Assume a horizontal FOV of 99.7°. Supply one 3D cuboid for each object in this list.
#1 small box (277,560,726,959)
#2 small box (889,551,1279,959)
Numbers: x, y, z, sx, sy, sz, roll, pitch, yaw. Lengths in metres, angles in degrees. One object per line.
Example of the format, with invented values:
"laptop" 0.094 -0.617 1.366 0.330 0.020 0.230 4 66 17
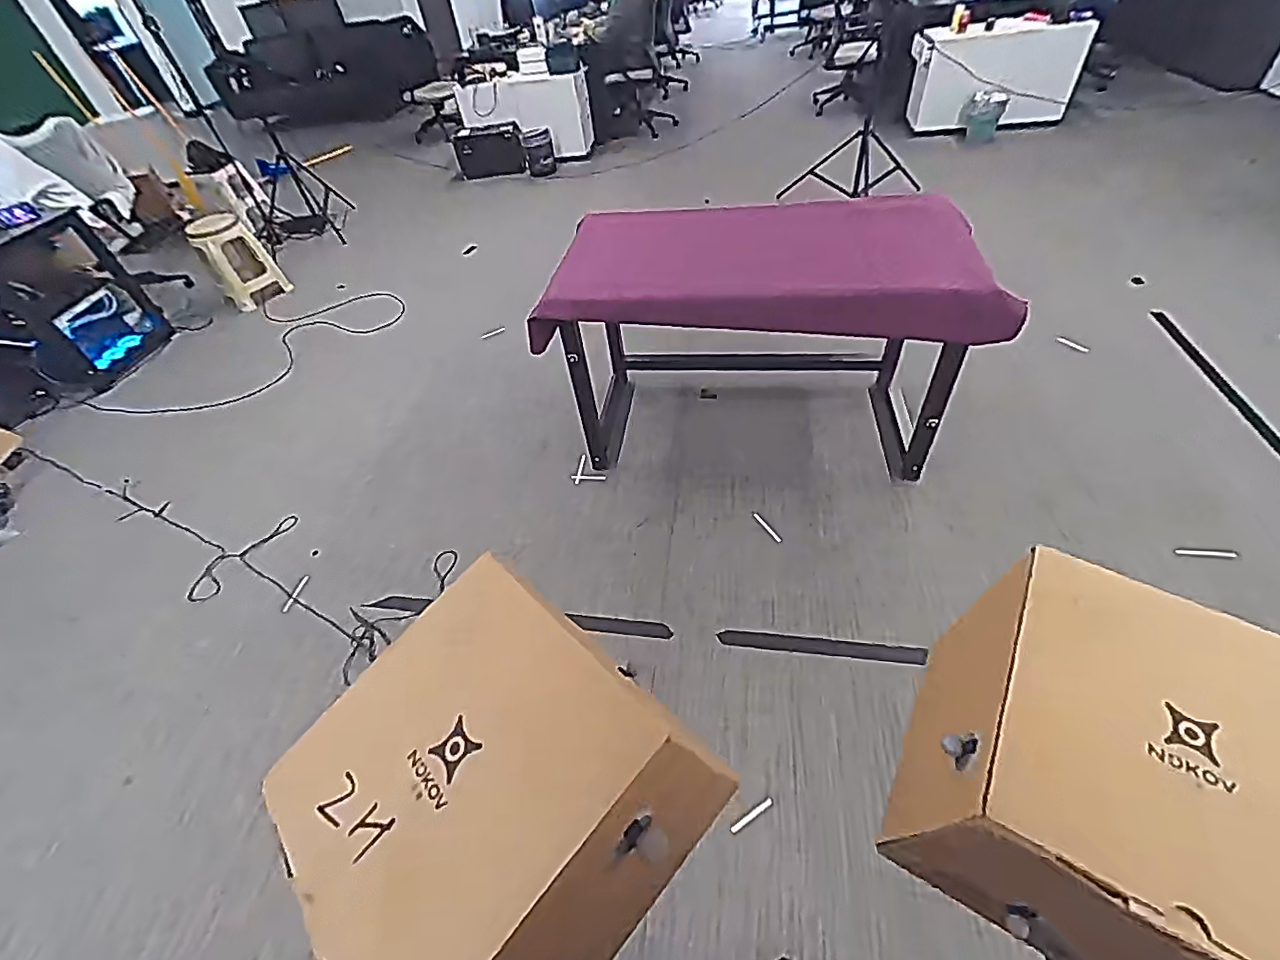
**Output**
"small box" -0.065 0.188 0.334 0.168 0.176 0.179 31 72 38
"small box" 0.281 0.183 0.337 0.168 0.176 0.179 25 57 20
